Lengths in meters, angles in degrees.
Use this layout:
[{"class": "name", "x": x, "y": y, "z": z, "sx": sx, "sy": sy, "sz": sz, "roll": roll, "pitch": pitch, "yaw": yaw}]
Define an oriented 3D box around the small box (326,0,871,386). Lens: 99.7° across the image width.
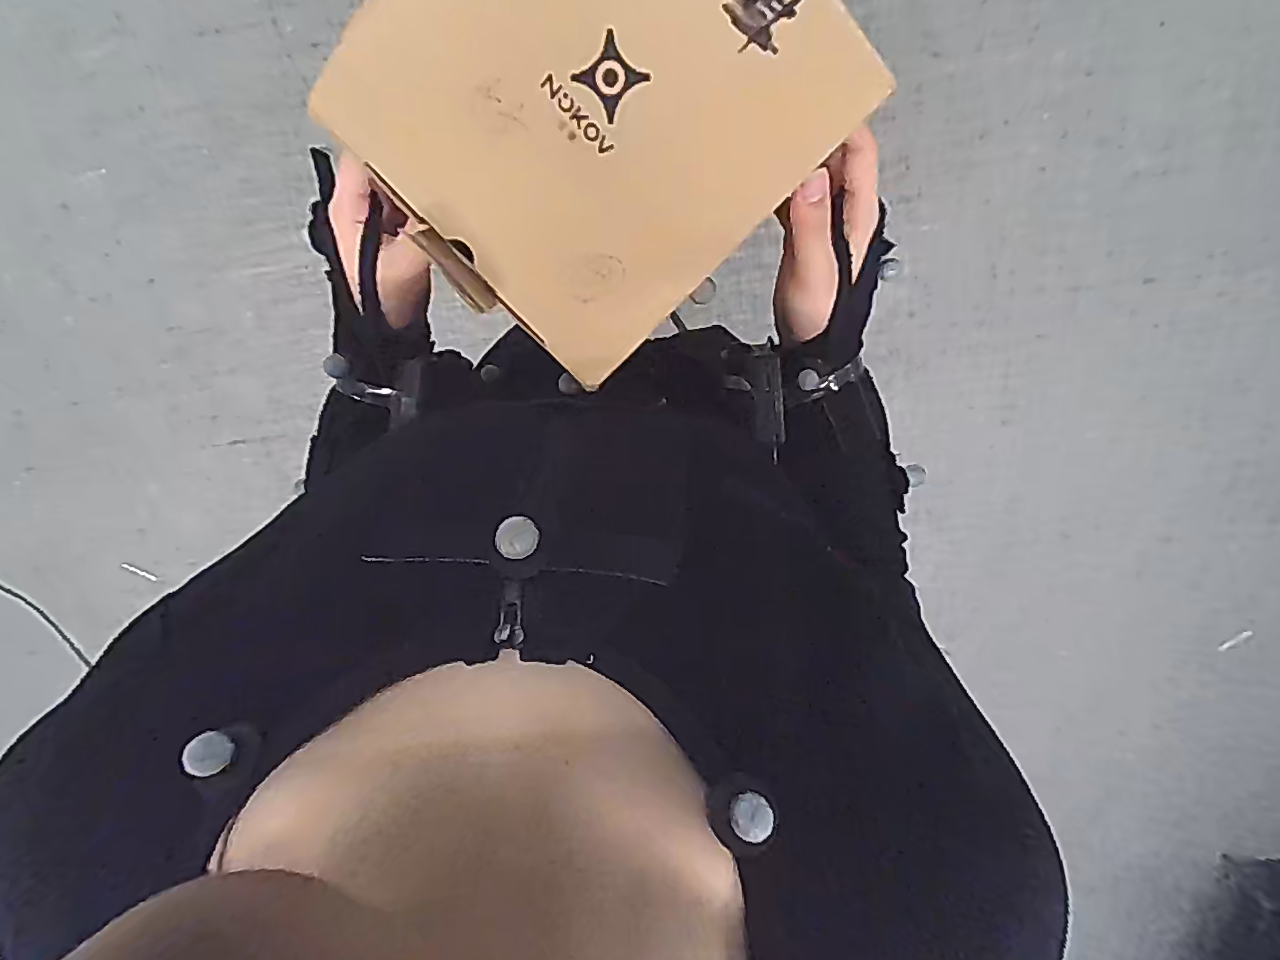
[{"class": "small box", "x": -0.016, "y": -0.182, "z": 0.300, "sx": 0.168, "sy": 0.176, "sz": 0.179, "roll": 43, "pitch": 107, "yaw": -13}]
